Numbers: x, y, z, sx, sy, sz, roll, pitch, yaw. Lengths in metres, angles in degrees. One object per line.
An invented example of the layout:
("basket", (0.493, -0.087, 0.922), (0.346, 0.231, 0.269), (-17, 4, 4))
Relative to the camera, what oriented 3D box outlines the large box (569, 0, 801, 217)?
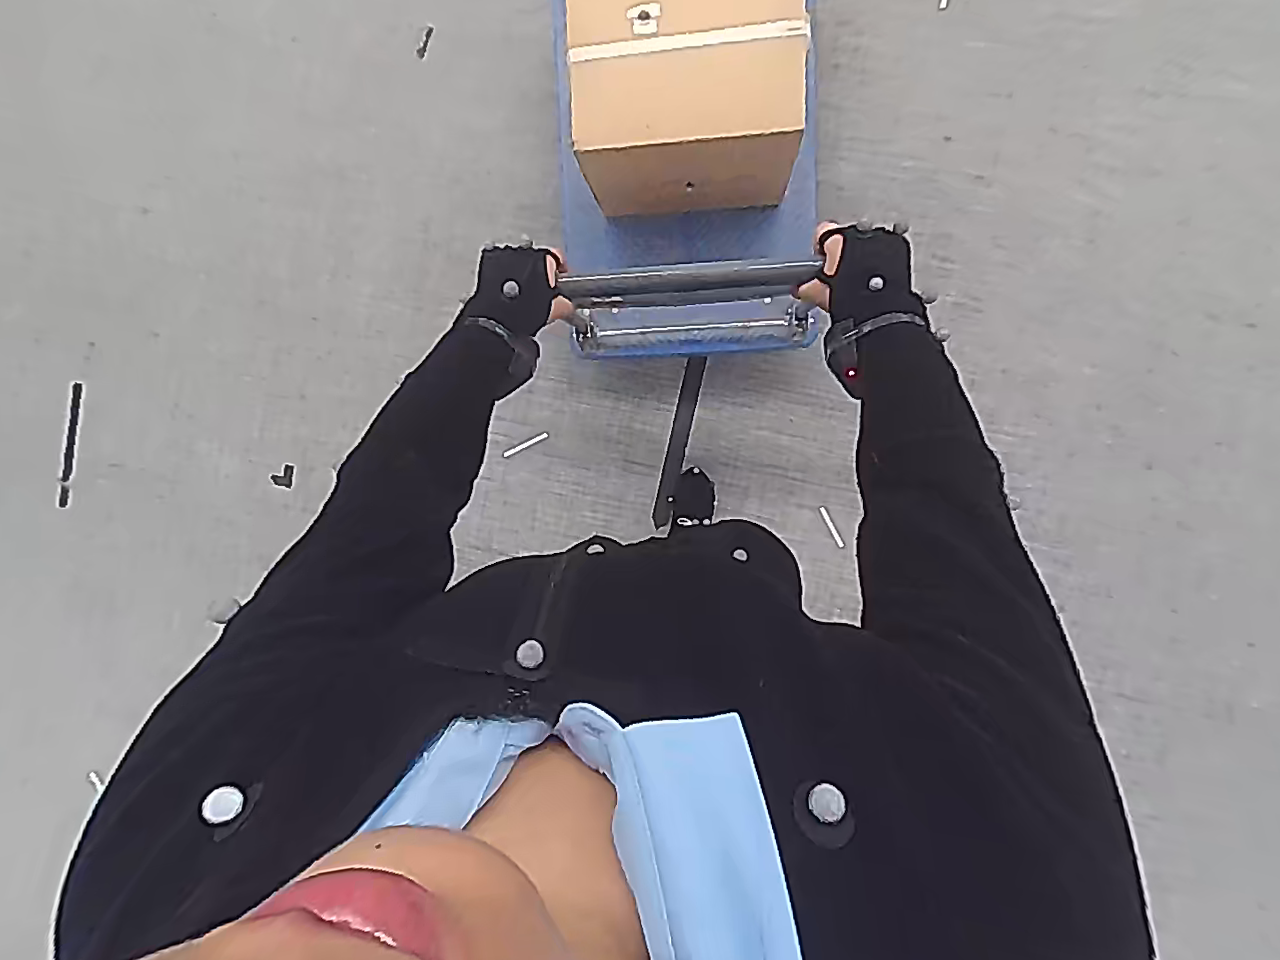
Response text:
("large box", (0.096, -0.760, 1.091), (0.408, 0.320, 0.320), (-1, 94, 8))
